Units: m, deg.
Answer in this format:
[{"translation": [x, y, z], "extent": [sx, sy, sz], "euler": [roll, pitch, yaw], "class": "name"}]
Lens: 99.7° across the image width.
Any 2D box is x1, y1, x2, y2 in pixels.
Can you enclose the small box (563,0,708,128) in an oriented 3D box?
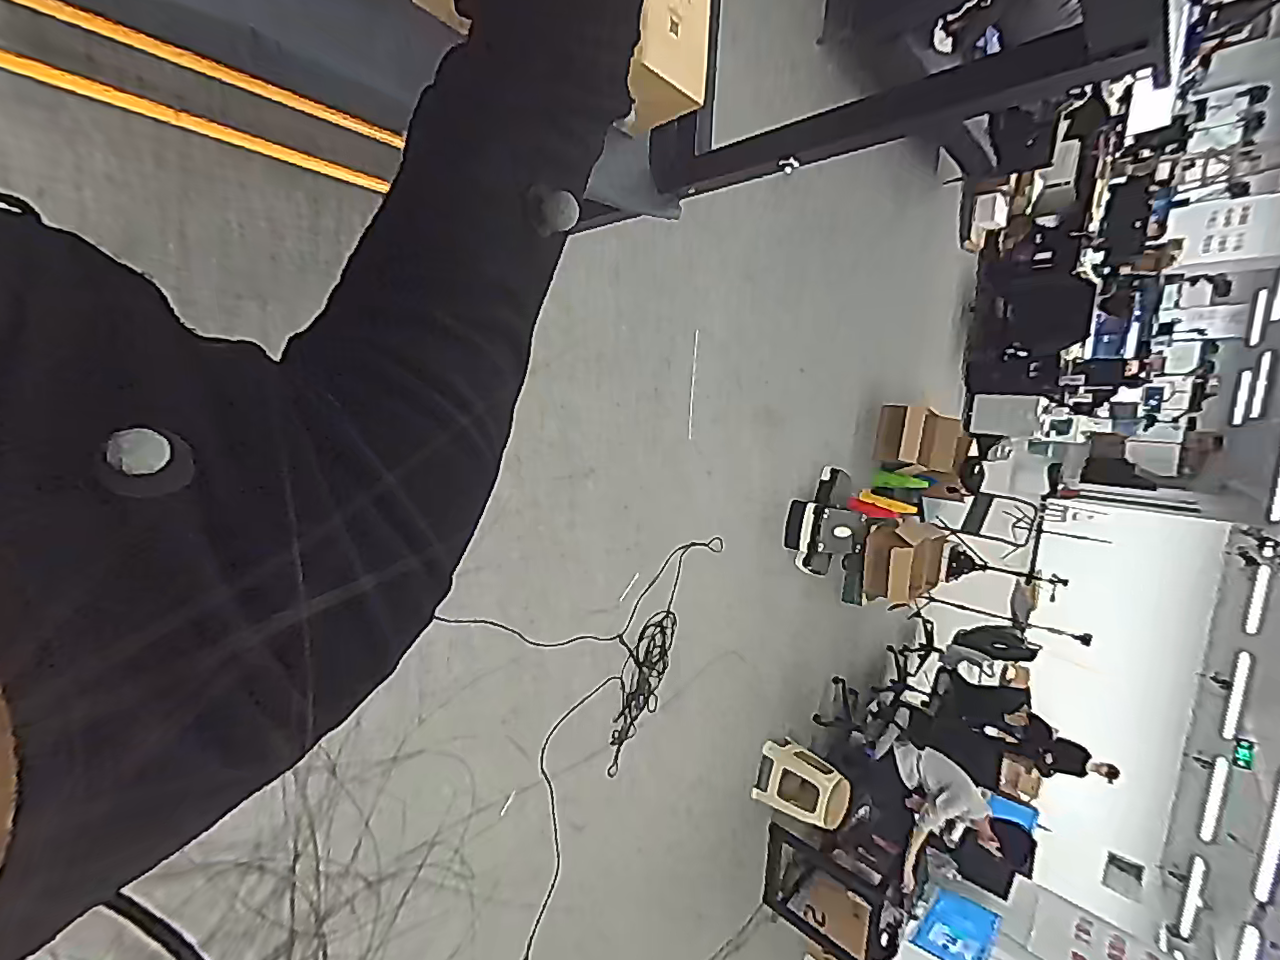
[{"translation": [-0.012, -0.712, 0.877], "extent": [0.168, 0.176, 0.179], "euler": [-5, 100, -47], "class": "small box"}]
